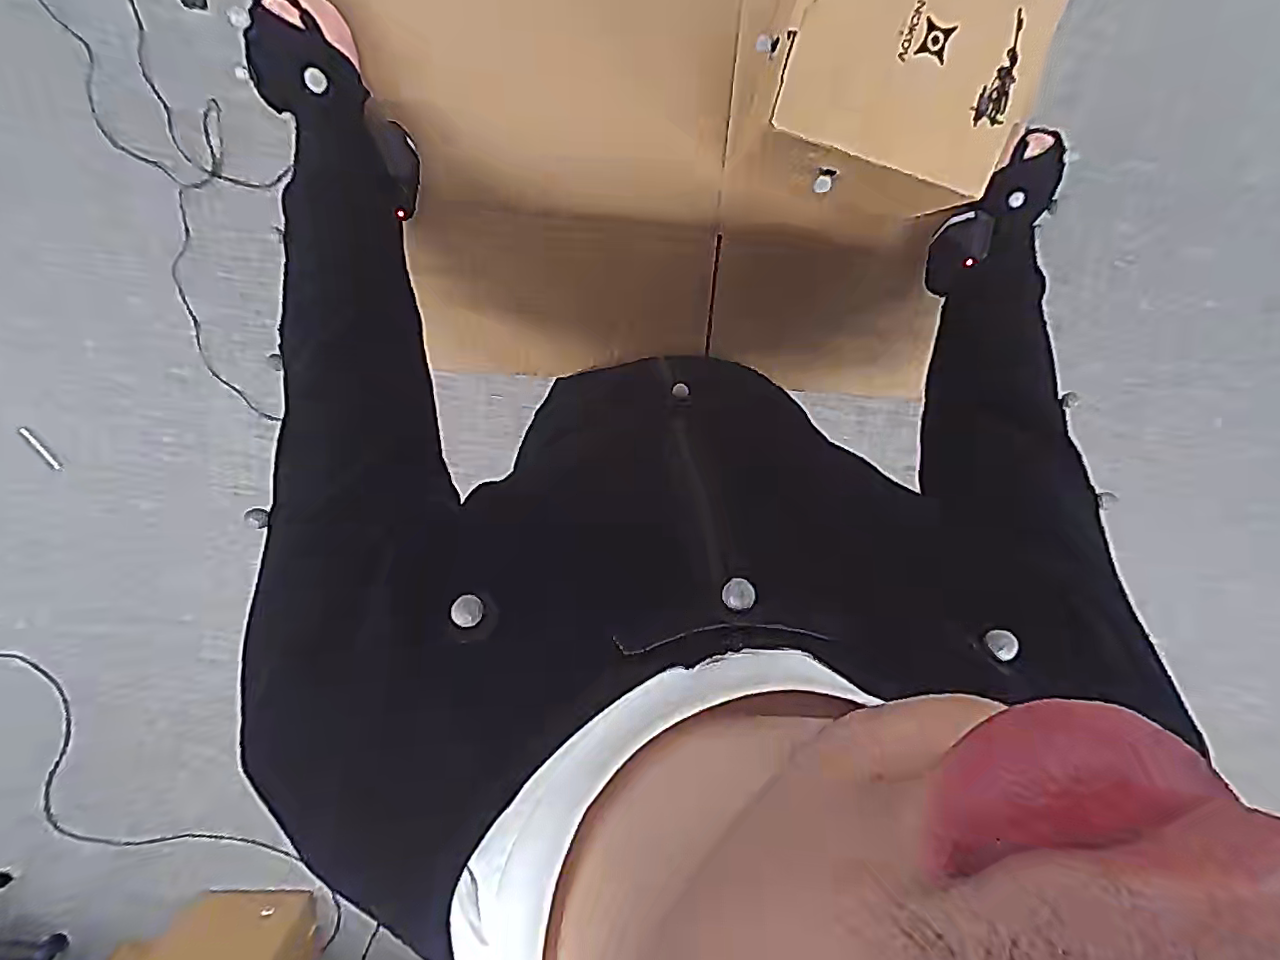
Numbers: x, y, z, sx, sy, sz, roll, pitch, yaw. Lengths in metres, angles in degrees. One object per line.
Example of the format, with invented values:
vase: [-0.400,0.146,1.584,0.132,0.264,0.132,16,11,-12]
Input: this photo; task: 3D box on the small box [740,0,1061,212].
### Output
small box: [0.199,-0.344,0.457,0.179,0.176,0.168,15,109,-5]
